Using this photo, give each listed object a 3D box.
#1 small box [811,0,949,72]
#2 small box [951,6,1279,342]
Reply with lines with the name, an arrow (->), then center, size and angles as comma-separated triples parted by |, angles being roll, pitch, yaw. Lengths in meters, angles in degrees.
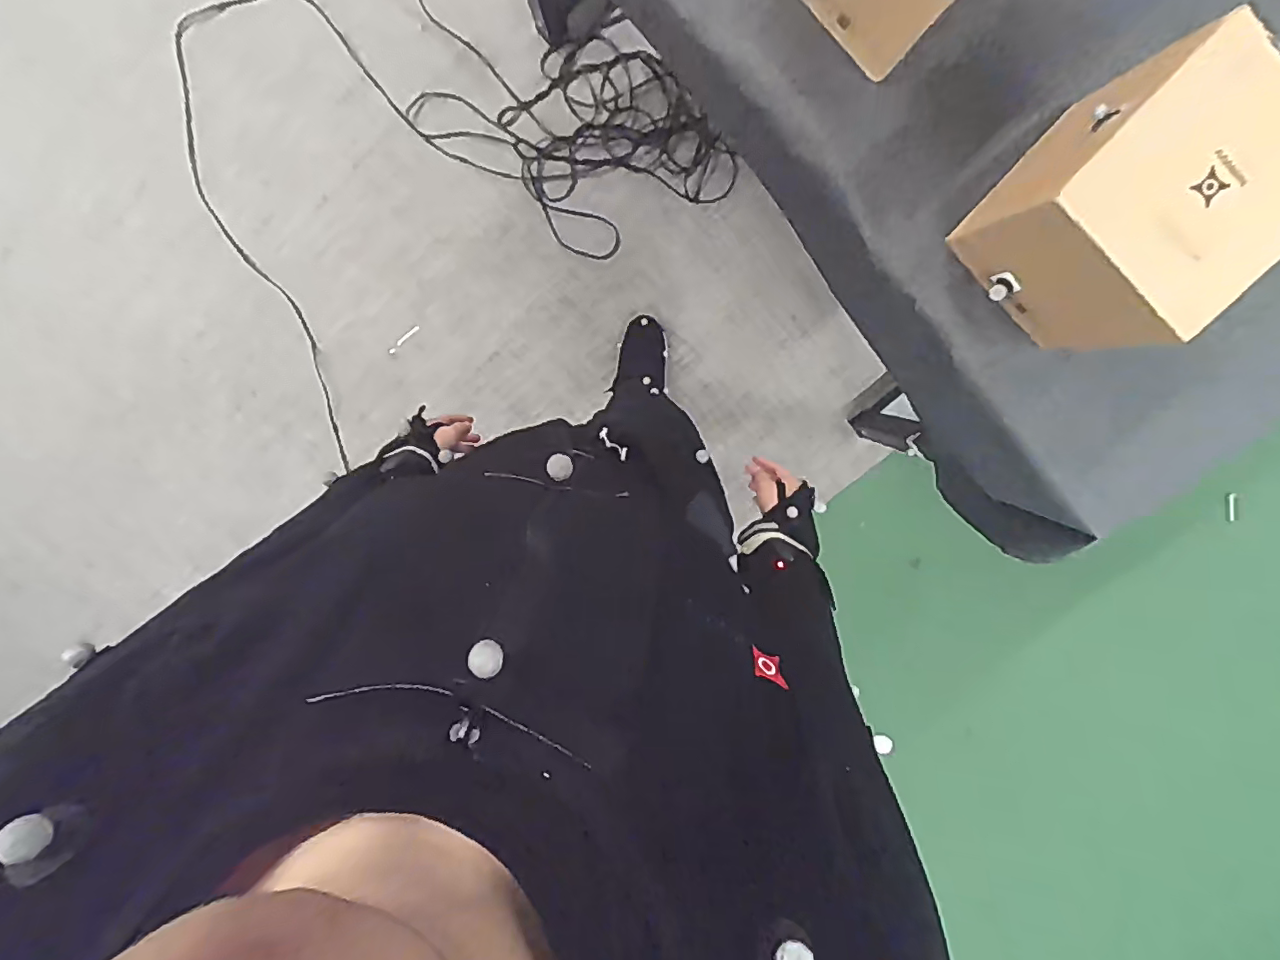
small box -> 0.229, -0.492, 0.435 | 0.168, 0.176, 0.179 | 42, 99, -8
small box -> 0.435, -0.245, 0.490 | 0.168, 0.176, 0.179 | 41, 100, -7
